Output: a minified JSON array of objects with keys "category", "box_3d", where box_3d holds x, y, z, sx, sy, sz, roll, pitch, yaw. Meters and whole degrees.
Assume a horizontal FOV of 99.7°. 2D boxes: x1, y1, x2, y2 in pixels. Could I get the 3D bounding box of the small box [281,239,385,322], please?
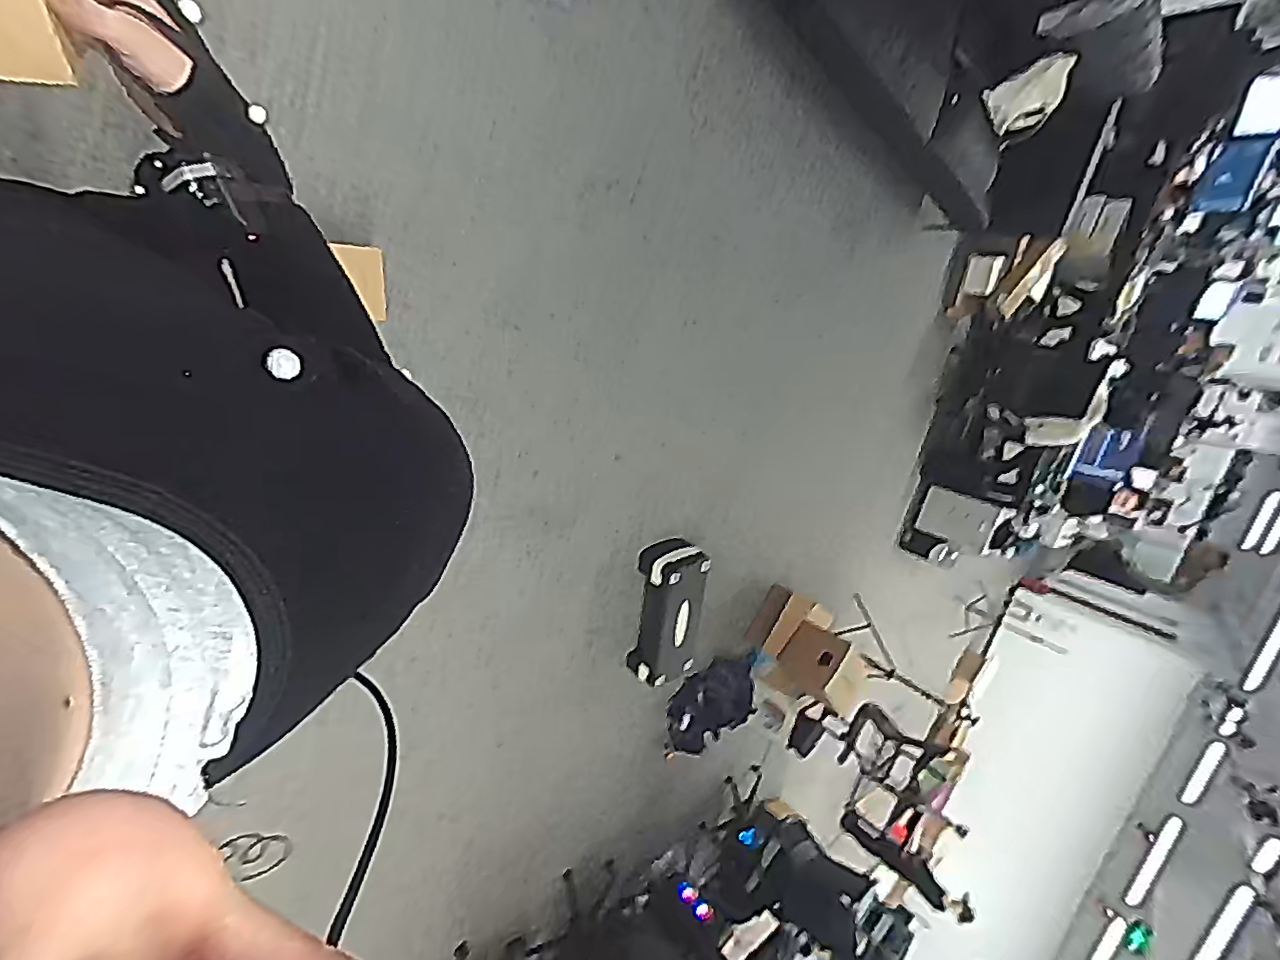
[{"category":"small box","box_3d":[-0.720,-0.466,1.265,0.179,0.176,0.168,-14,120,-41]}]
